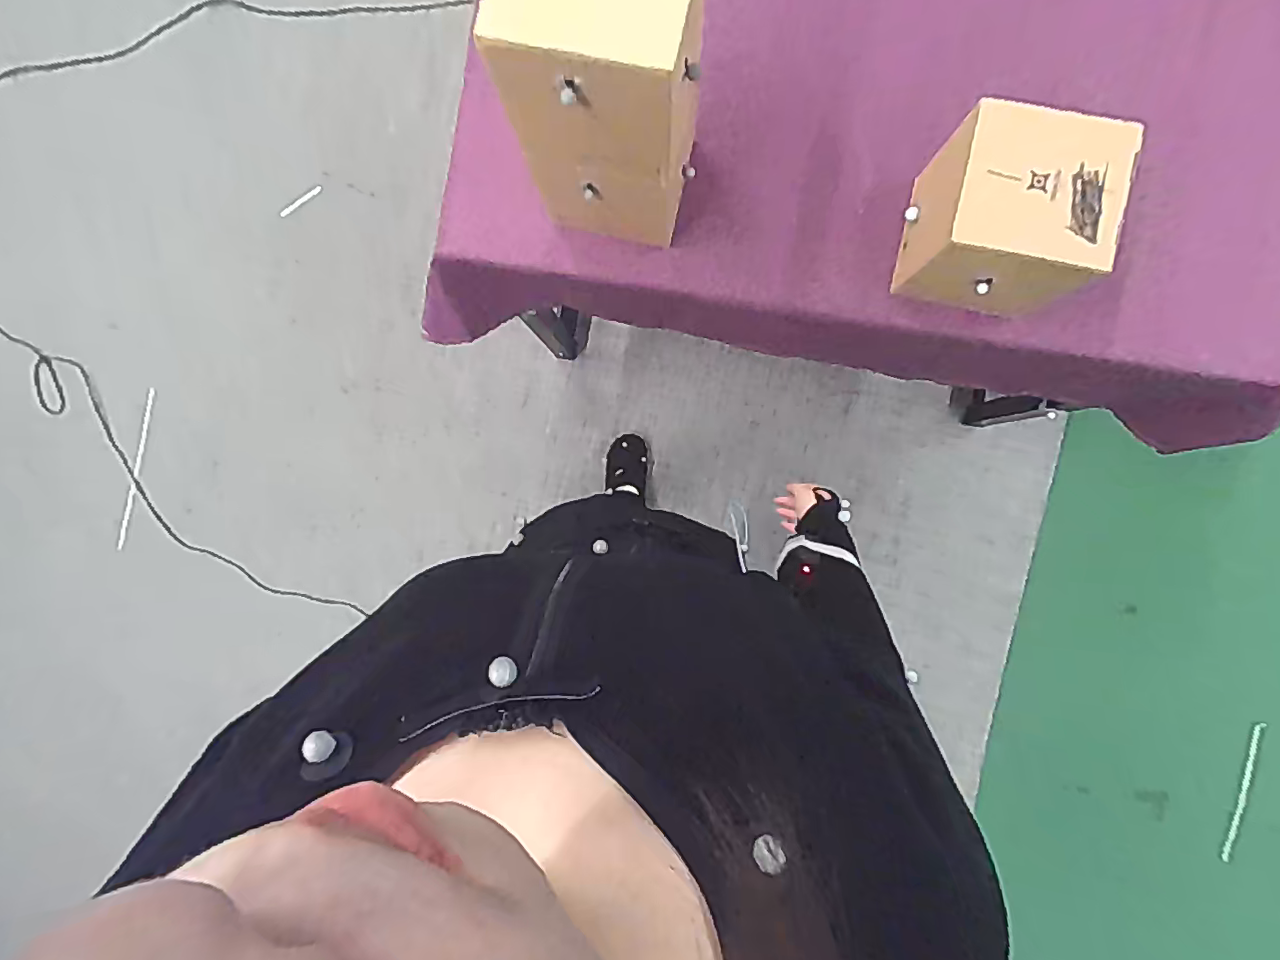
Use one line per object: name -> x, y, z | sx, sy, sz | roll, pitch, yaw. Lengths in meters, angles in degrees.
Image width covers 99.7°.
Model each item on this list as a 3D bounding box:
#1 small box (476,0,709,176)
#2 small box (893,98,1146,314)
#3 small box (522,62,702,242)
small box -> -0.031, -0.429, 0.526 | 0.179, 0.176, 0.168 | 13, 91, 4
small box -> 0.445, -0.318, 0.664 | 0.179, 0.176, 0.168 | 13, 90, 4
small box -> -0.028, -0.429, 0.689 | 0.179, 0.176, 0.168 | 14, 91, 3
